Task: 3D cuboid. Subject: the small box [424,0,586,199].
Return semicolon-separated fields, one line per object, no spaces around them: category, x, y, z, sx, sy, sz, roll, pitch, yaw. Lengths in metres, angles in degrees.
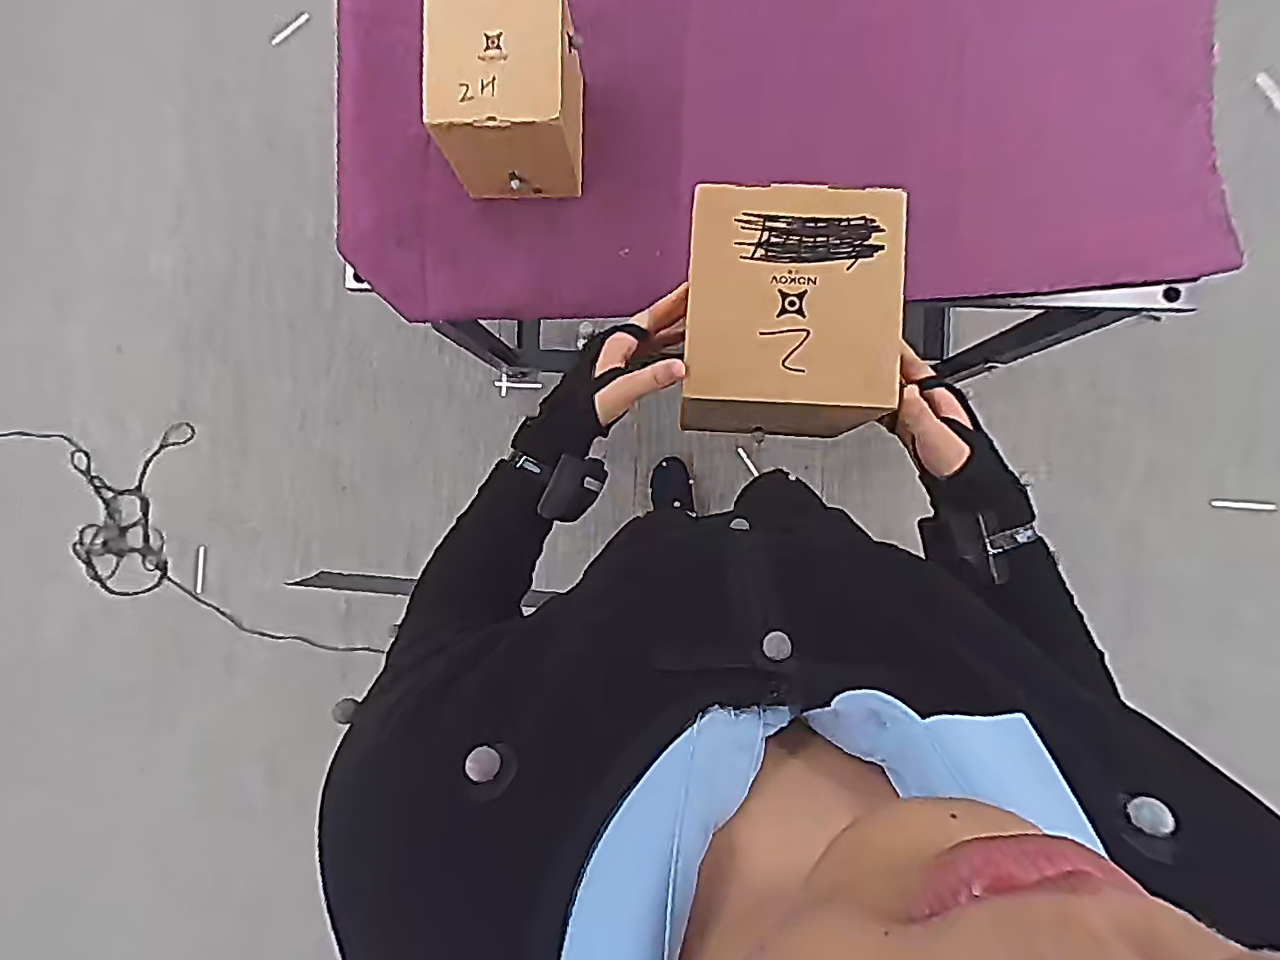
small box;-0.165;-0.498;0.706;0.168;0.176;0.179;0;90;3
